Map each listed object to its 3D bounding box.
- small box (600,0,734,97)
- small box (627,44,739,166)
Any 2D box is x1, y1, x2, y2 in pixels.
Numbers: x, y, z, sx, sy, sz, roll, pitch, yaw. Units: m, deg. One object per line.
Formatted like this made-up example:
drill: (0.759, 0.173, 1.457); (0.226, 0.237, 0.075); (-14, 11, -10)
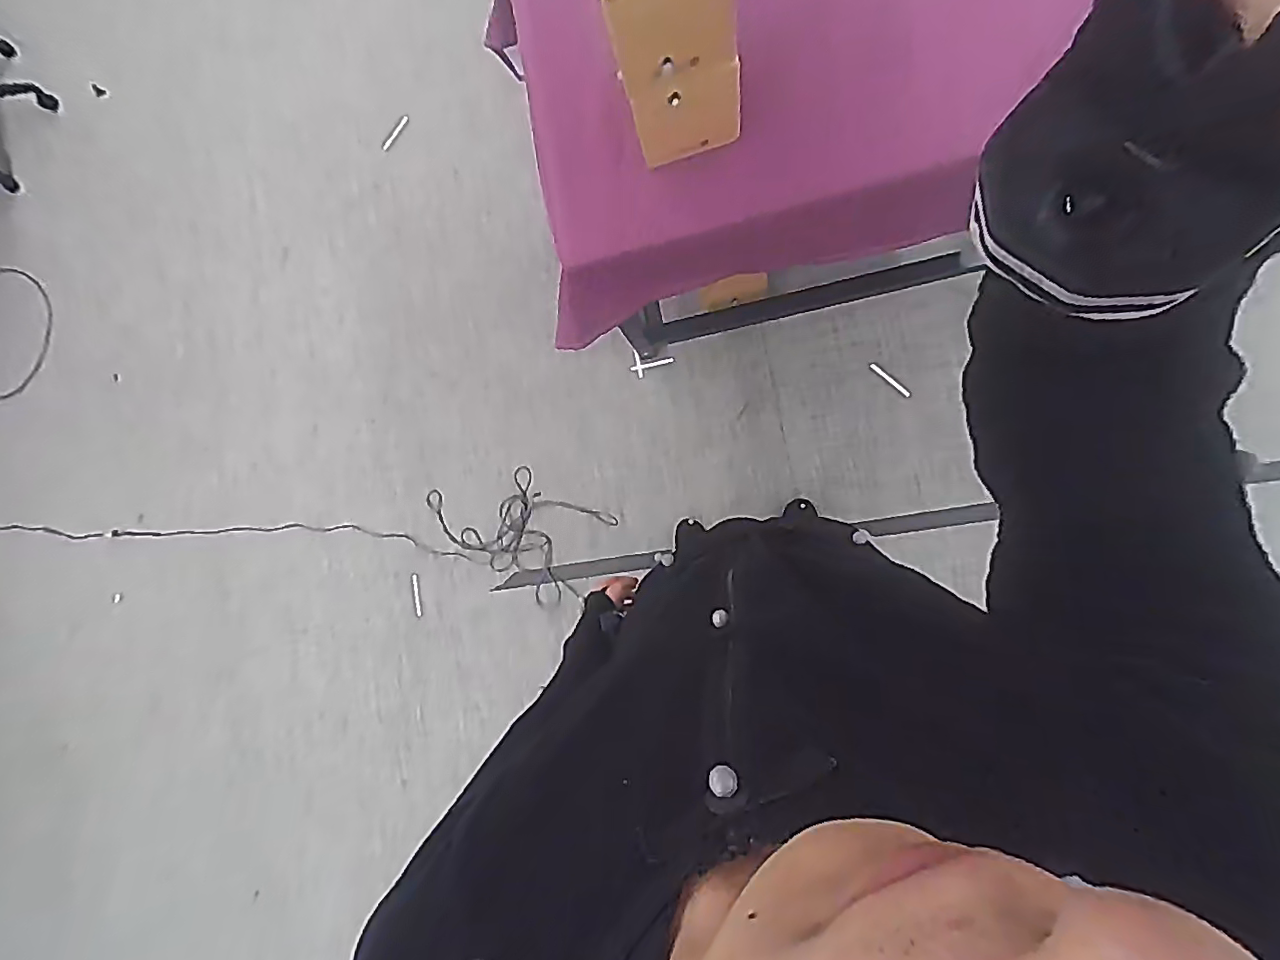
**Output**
small box: (0.025, -0.667, 0.716); (0.168, 0.176, 0.179); (-14, 85, 10)
small box: (0.060, -0.658, 0.876); (0.168, 0.176, 0.179); (-13, 85, 10)
